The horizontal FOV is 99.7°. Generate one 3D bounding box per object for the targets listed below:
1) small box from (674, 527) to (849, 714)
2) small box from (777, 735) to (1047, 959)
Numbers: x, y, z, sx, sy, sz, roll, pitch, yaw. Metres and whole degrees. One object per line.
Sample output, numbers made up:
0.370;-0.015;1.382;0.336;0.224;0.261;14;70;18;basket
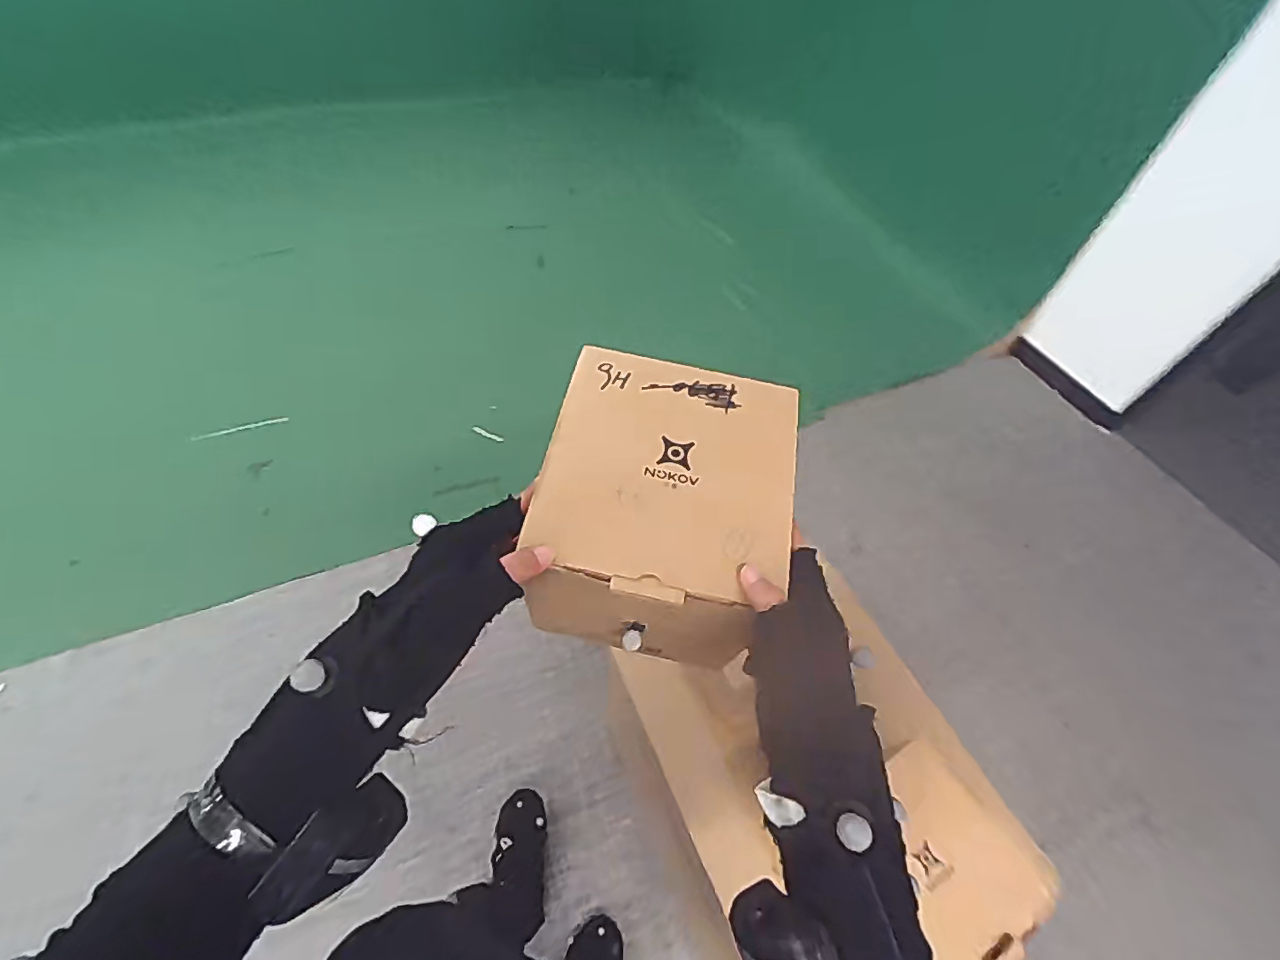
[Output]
0.153;0.199;0.756;0.168;0.176;0.179;-18;57;-11;small box
0.280;0.422;0.603;0.168;0.176;0.179;-26;58;-18;small box
